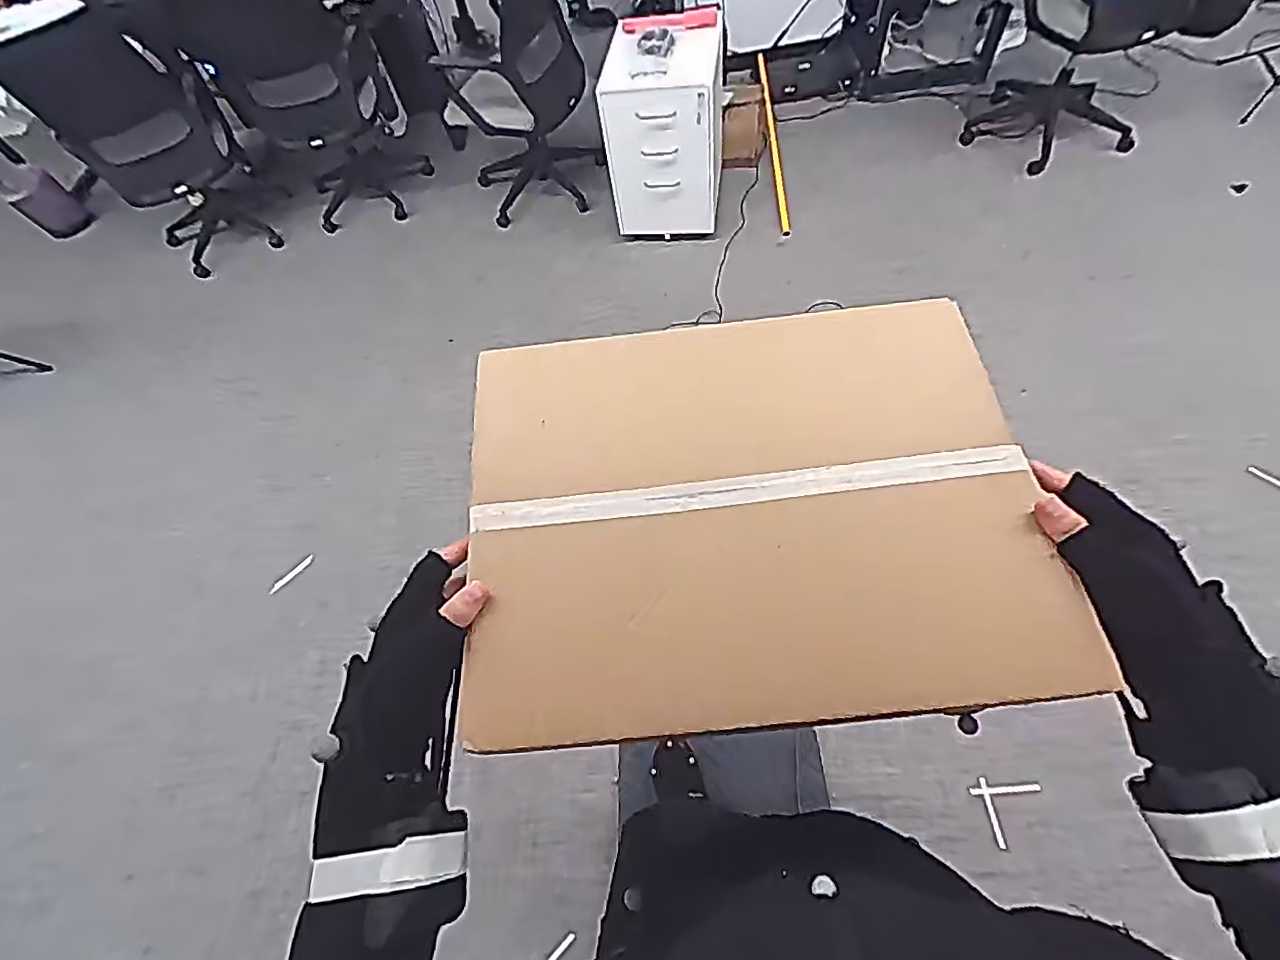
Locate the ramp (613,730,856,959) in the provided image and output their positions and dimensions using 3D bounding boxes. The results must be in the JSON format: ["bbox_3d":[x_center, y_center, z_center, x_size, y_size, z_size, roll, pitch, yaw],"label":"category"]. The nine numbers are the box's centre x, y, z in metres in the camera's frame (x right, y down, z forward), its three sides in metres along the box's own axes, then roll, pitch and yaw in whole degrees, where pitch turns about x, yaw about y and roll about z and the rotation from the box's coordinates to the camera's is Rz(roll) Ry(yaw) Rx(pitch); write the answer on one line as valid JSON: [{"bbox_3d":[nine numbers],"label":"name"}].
[{"bbox_3d":[0.186,1.023,1.046,0.509,0.206,0.991,-7,59,4],"label":"ramp"}]

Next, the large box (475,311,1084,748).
[{"bbox_3d":[0.086,0.074,0.544,0.408,0.320,0.320,-6,64,1],"label":"large box"}]
